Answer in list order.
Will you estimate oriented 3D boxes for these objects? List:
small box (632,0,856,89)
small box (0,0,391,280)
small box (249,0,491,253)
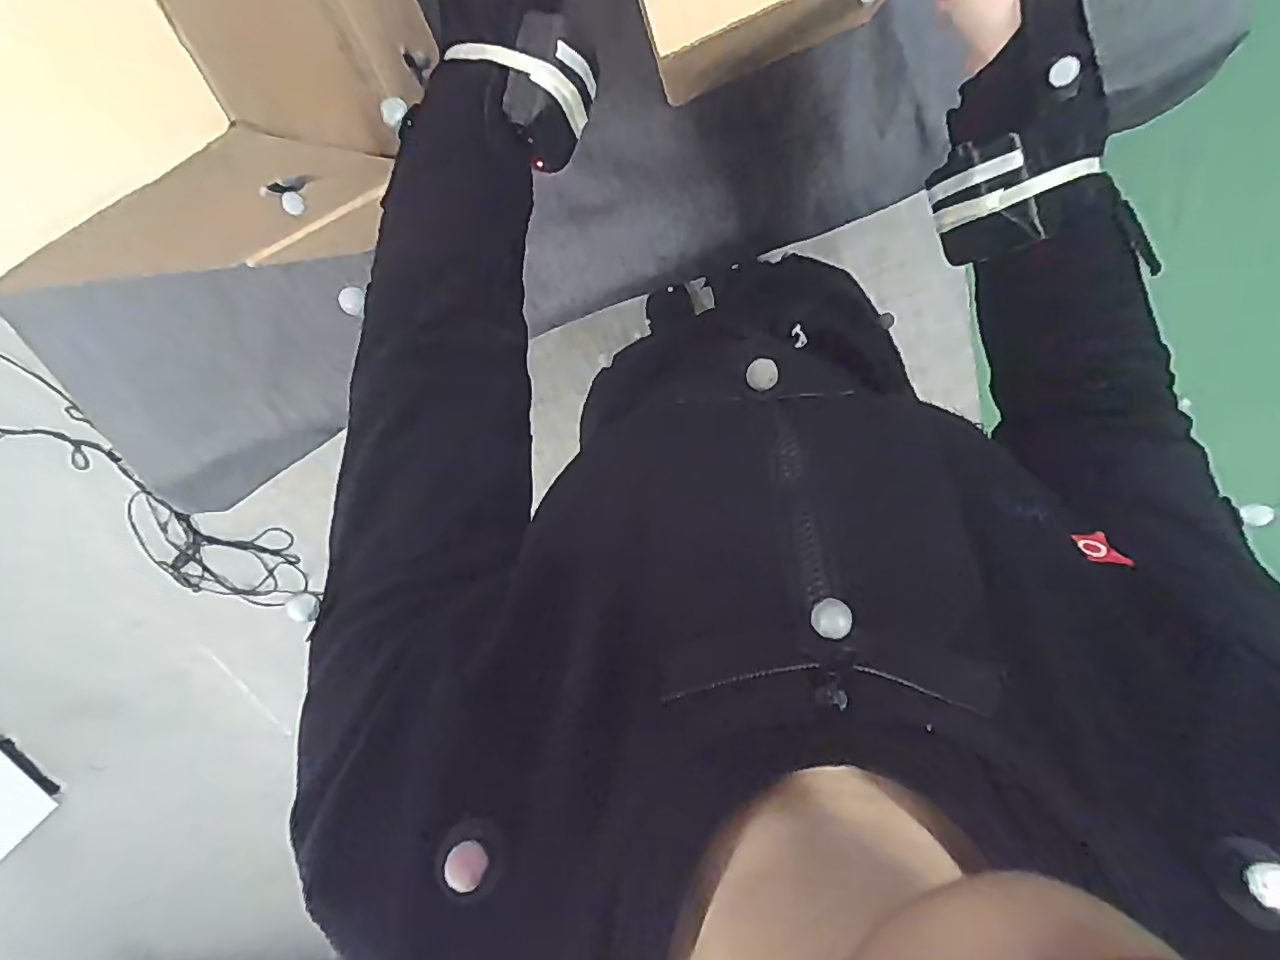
[{"bbox_3d":[0.068,-0.397,0.360,0.179,0.176,0.168,-16,114,13],"label":"small box"},{"bbox_3d":[-0.266,-0.227,0.286,0.179,0.176,0.168,-19,112,15],"label":"small box"},{"bbox_3d":[-0.248,-0.301,0.430,0.168,0.176,0.179,-18,114,13],"label":"small box"}]
